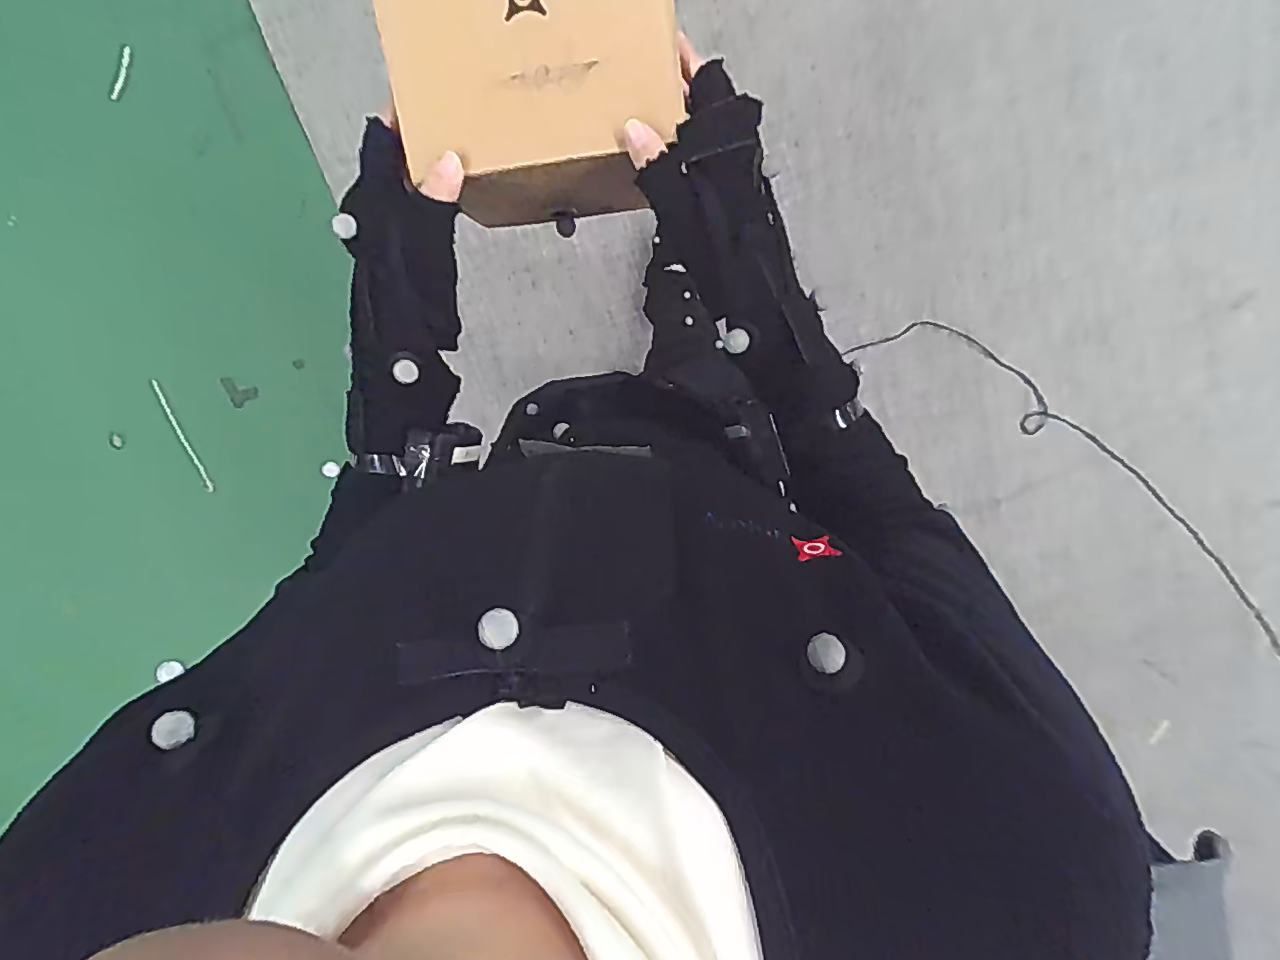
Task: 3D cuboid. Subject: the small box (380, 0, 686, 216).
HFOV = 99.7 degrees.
[{"bbox_3d":[-0.061,-0.299,0.368,0.168,0.176,0.179,-6,106,3],"label":"small box"}]
